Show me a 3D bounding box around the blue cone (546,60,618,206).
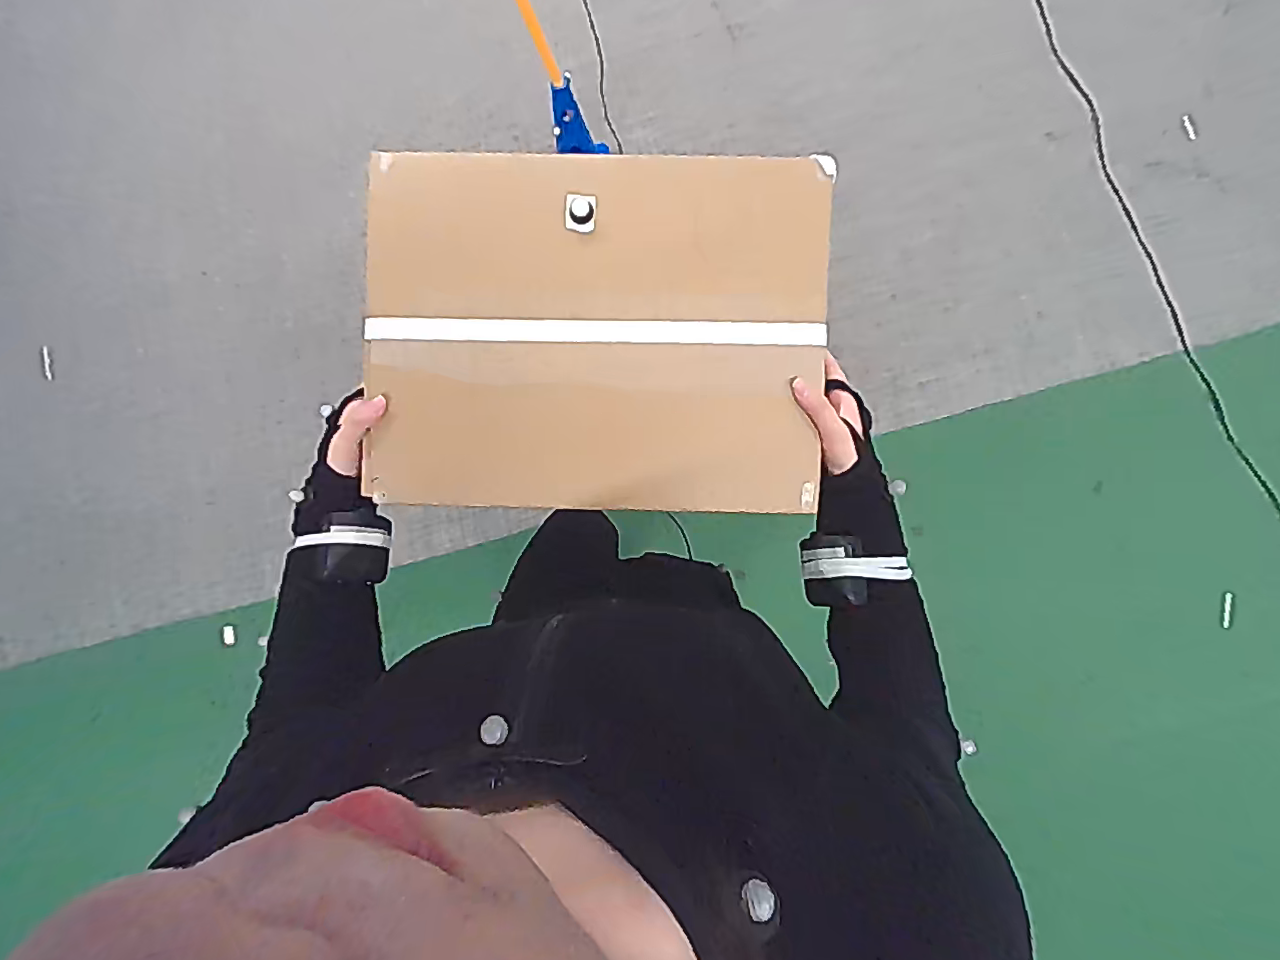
[{"bbox_3d":[-0.183,-0.927,1.431,0.193,0.380,0.192,-18,84,3],"label":"blue cone"}]
